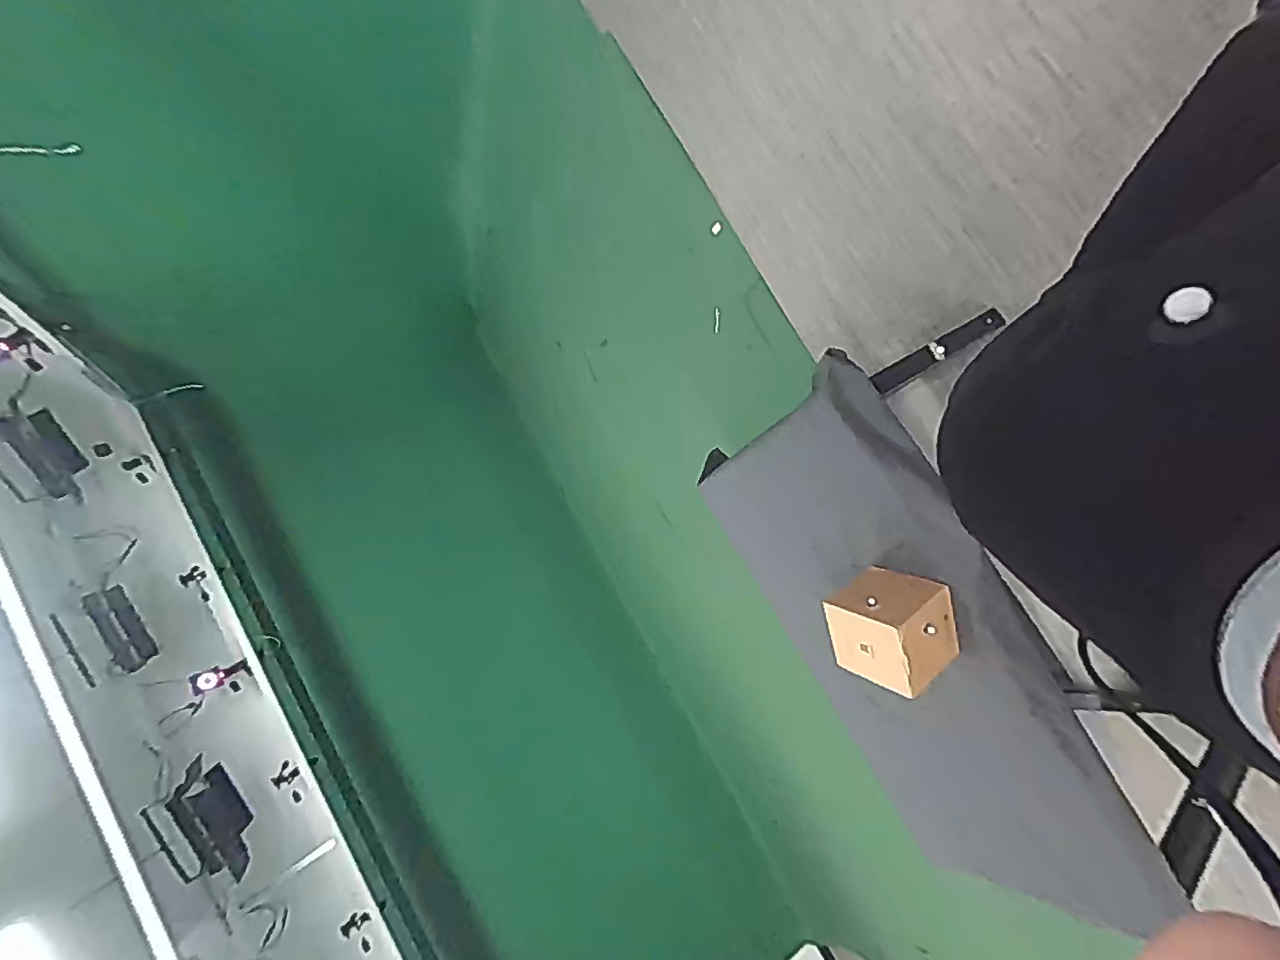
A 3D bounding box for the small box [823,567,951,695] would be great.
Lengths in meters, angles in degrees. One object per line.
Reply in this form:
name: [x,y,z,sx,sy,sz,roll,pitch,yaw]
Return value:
small box: [0.515,0.300,1.117,0.179,0.176,0.168,11,123,59]
